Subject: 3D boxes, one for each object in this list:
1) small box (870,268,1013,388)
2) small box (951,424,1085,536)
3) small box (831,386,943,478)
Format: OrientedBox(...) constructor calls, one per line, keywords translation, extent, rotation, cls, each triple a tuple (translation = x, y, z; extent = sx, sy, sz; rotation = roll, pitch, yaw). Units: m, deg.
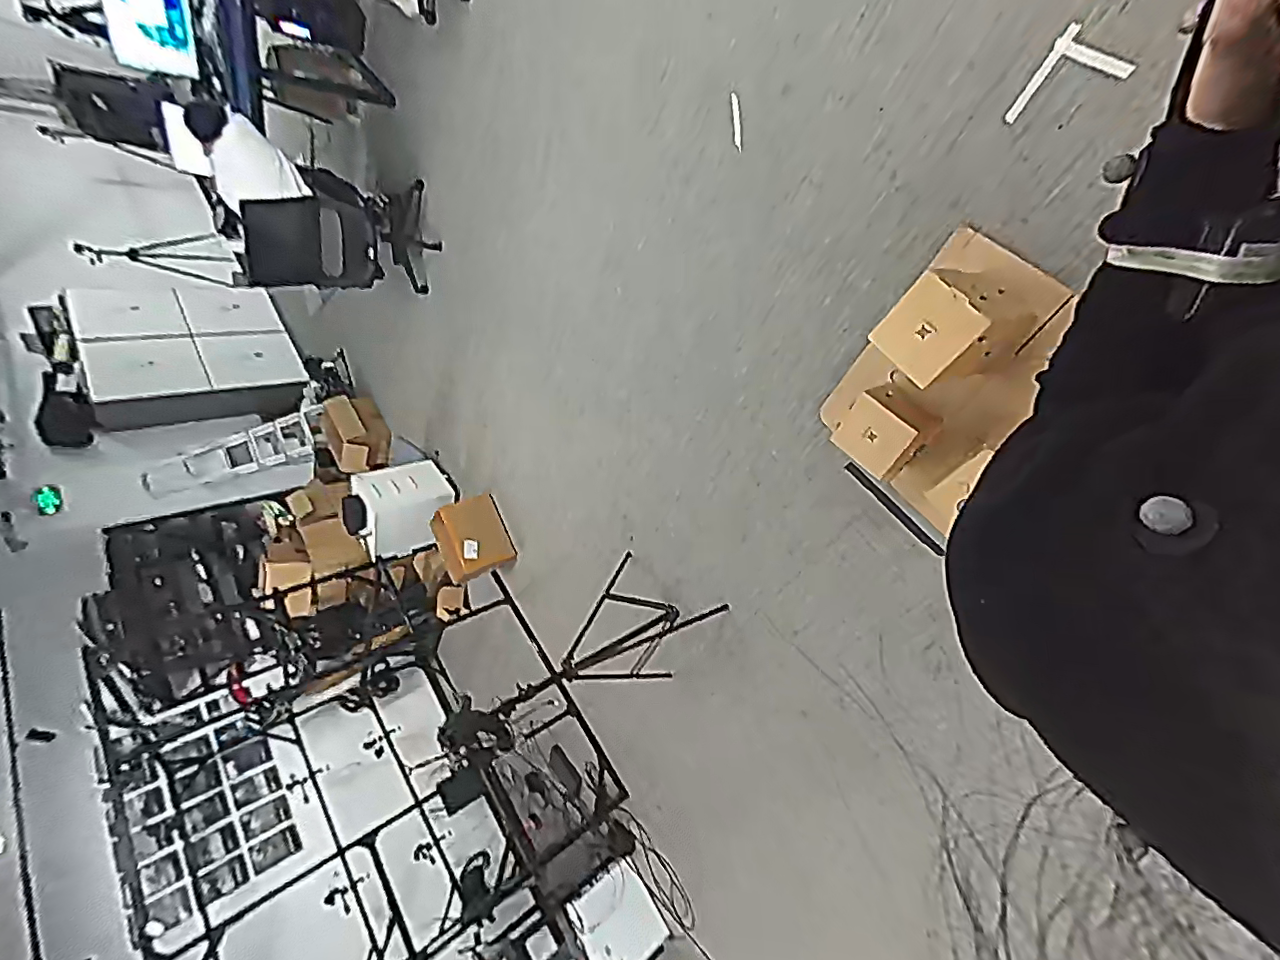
OrientedBox(translation=(0.632, -0.318, 1.132), extent=(0.168, 0.176, 0.179), rotation=(54, 135, 21), cls="small box")
OrientedBox(translation=(0.864, -0.005, 1.232), extent=(0.179, 0.176, 0.168), rotation=(57, 137, 16), cls="small box")
OrientedBox(translation=(0.654, -0.134, 1.431), extent=(0.179, 0.176, 0.168), rotation=(48, 135, 27), cls="small box")
